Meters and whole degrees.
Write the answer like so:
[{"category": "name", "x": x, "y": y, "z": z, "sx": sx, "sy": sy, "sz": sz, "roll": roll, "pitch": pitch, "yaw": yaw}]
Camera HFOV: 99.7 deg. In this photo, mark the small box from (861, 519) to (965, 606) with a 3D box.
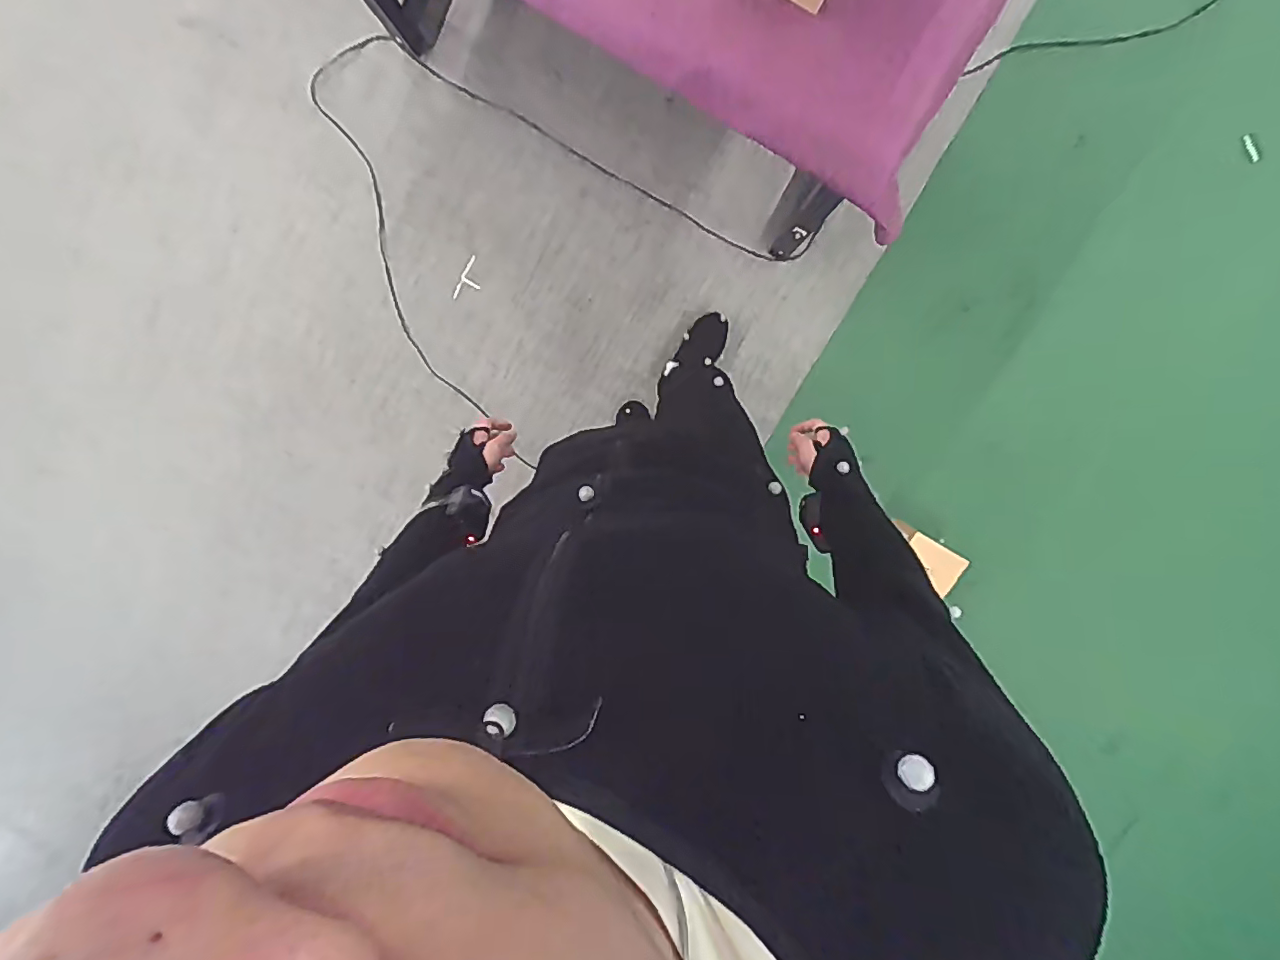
[{"category": "small box", "x": 0.777, "y": 0.228, "z": 1.562, "sx": 0.179, "sy": 0.176, "sz": 0.168, "roll": 29, "pitch": 99, "yaw": -5}]
